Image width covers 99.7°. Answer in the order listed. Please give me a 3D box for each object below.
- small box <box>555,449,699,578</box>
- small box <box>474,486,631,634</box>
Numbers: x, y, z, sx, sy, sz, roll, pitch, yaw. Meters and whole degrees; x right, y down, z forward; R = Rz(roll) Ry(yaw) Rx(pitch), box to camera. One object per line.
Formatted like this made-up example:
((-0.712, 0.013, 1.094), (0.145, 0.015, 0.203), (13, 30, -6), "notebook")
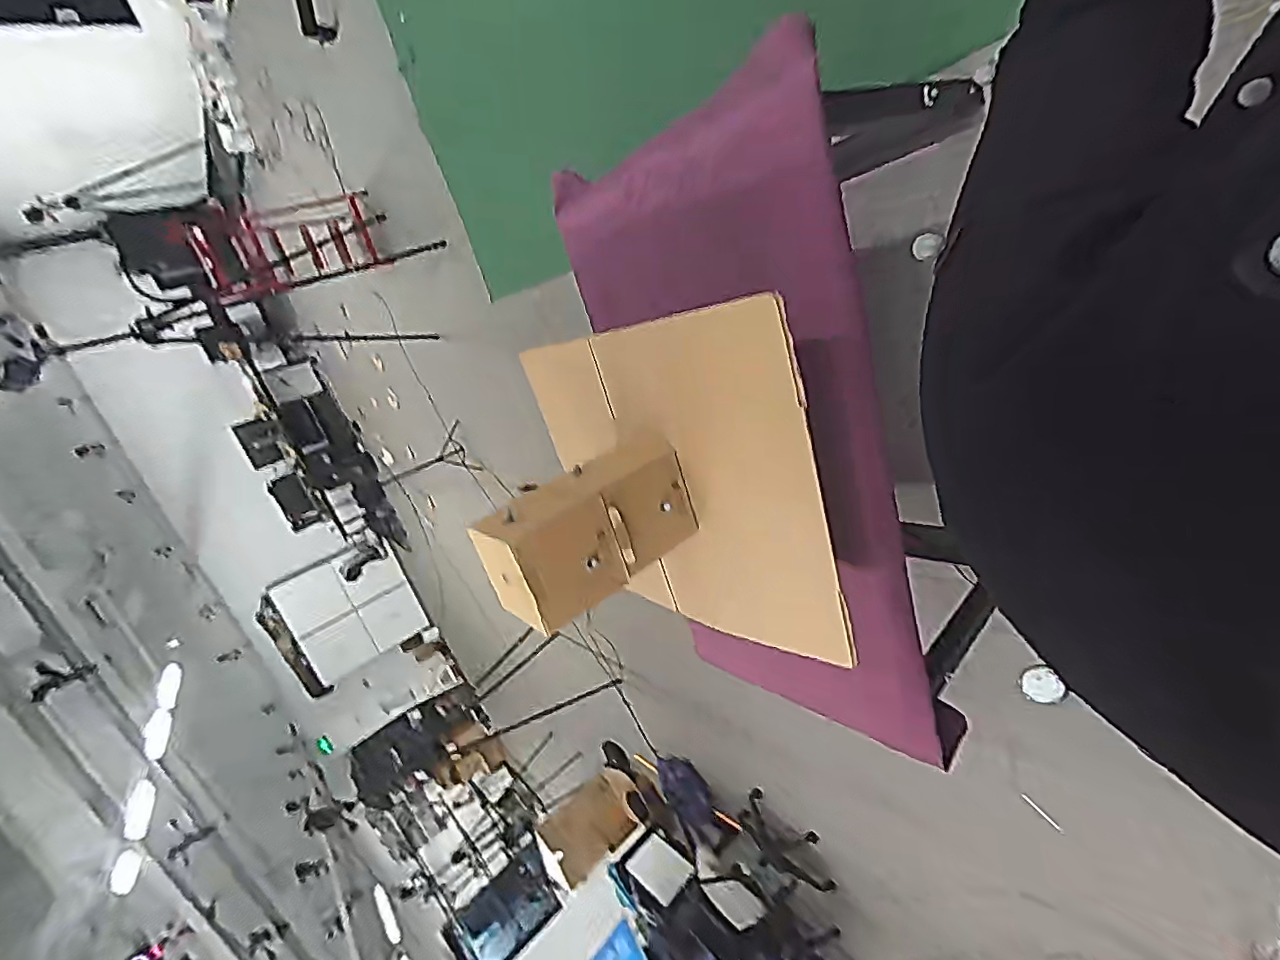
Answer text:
((-0.022, 0.050, 0.982), (0.179, 0.176, 0.168), (8, 122, 52), "small box")
((-0.143, 0.119, 0.896), (0.179, 0.176, 0.168), (7, 121, 52), "small box")
